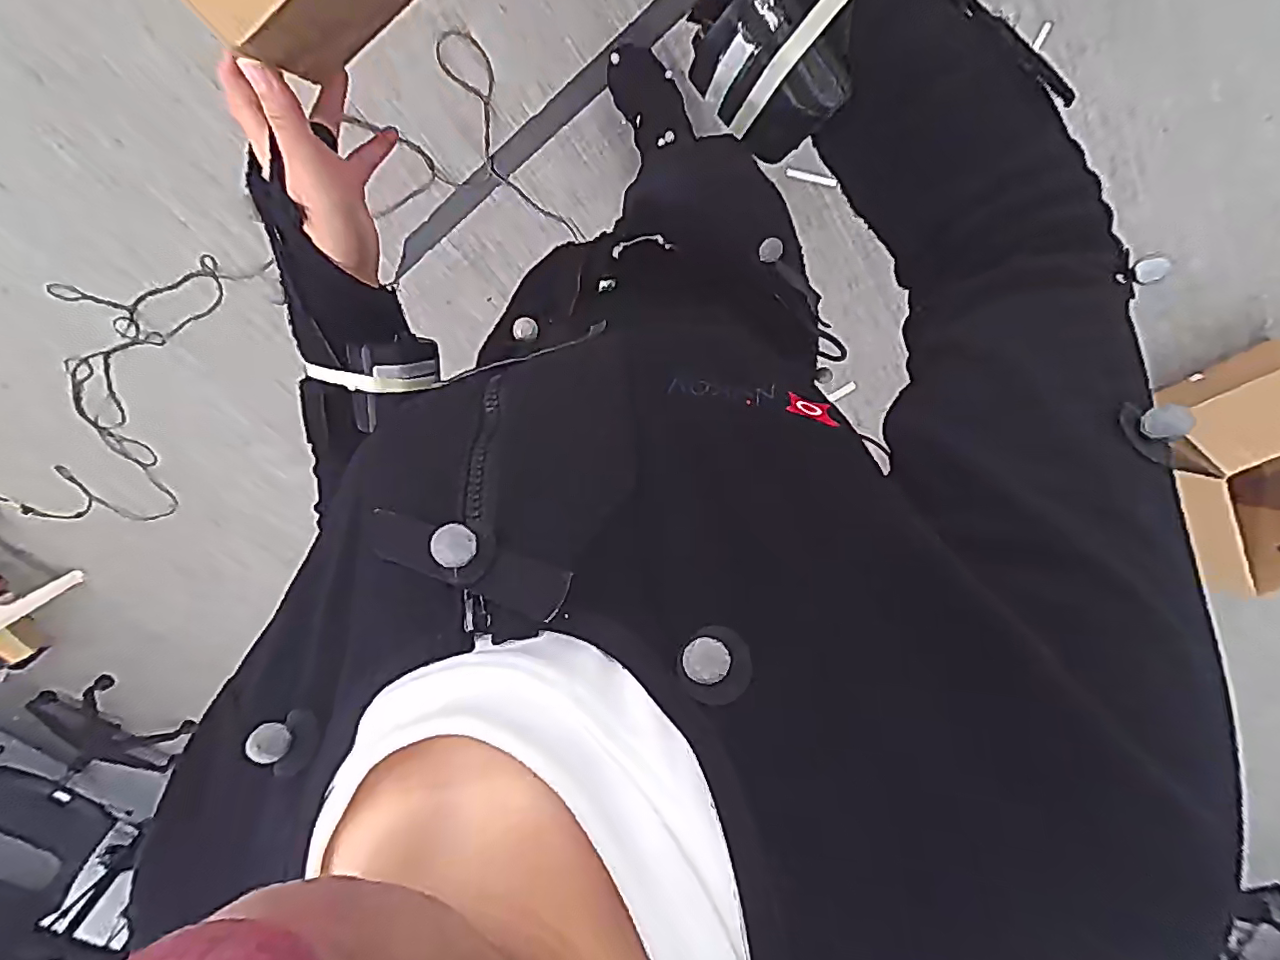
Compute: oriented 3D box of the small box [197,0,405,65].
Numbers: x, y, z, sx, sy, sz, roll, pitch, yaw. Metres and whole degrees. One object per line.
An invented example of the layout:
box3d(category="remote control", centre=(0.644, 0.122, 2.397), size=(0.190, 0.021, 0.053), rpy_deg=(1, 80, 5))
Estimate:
box3d(category="small box", centre=(-0.162, -0.323, 0.233), size=(0.179, 0.176, 0.168), rpy_deg=(-36, 125, 7))
